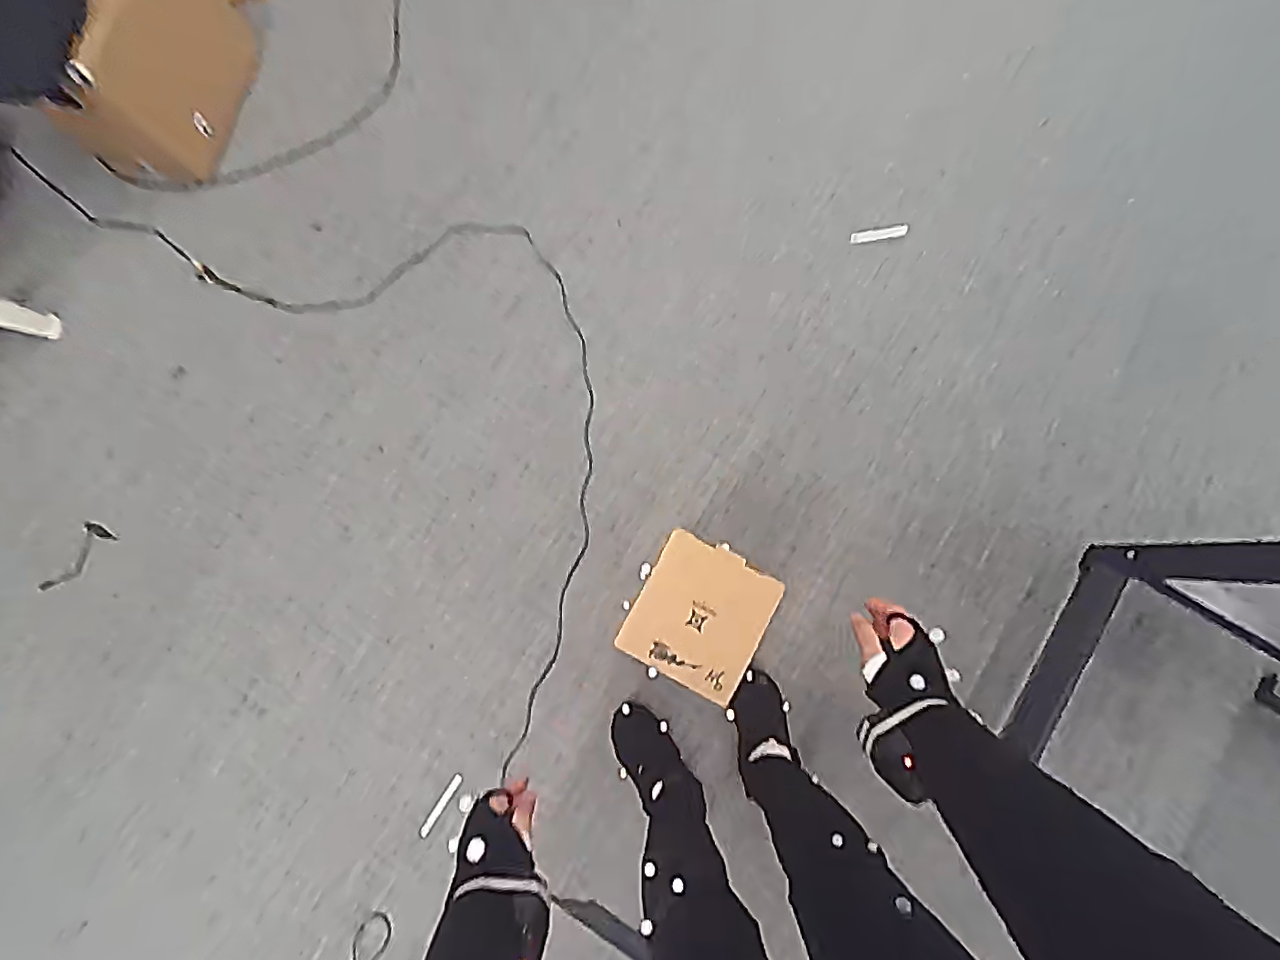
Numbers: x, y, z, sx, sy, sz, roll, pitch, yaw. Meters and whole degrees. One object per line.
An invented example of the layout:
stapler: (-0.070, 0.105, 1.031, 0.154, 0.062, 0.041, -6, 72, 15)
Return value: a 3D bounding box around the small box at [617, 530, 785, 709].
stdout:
small box: (0.081, 0.192, 0.779, 0.168, 0.176, 0.179, 28, 82, 6)
